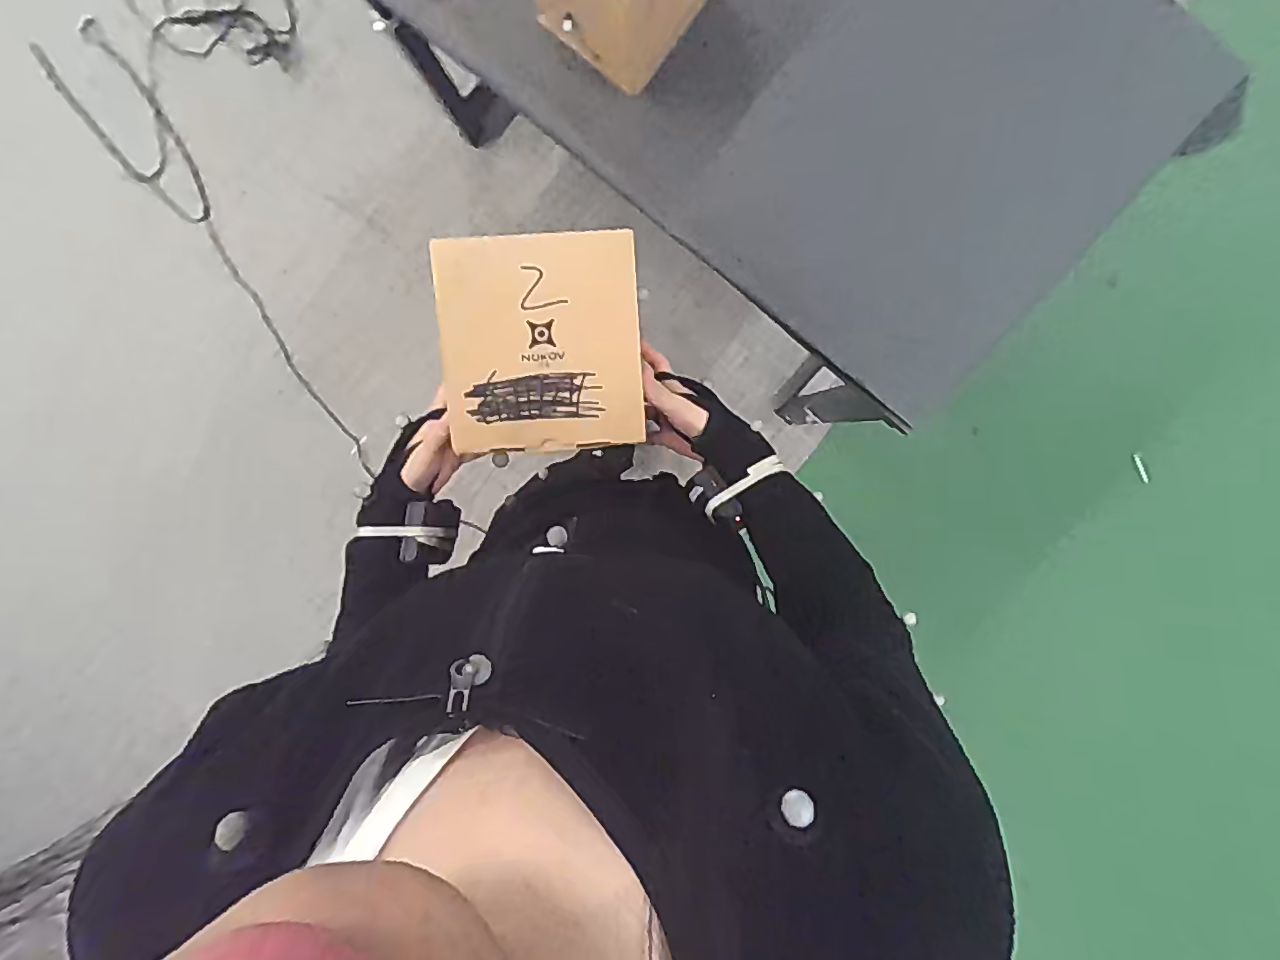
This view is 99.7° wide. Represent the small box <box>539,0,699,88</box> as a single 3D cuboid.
[{"bbox_3d":[-0.023,-0.614,0.616,0.168,0.176,0.179,39,96,-2],"label":"small box"}]
